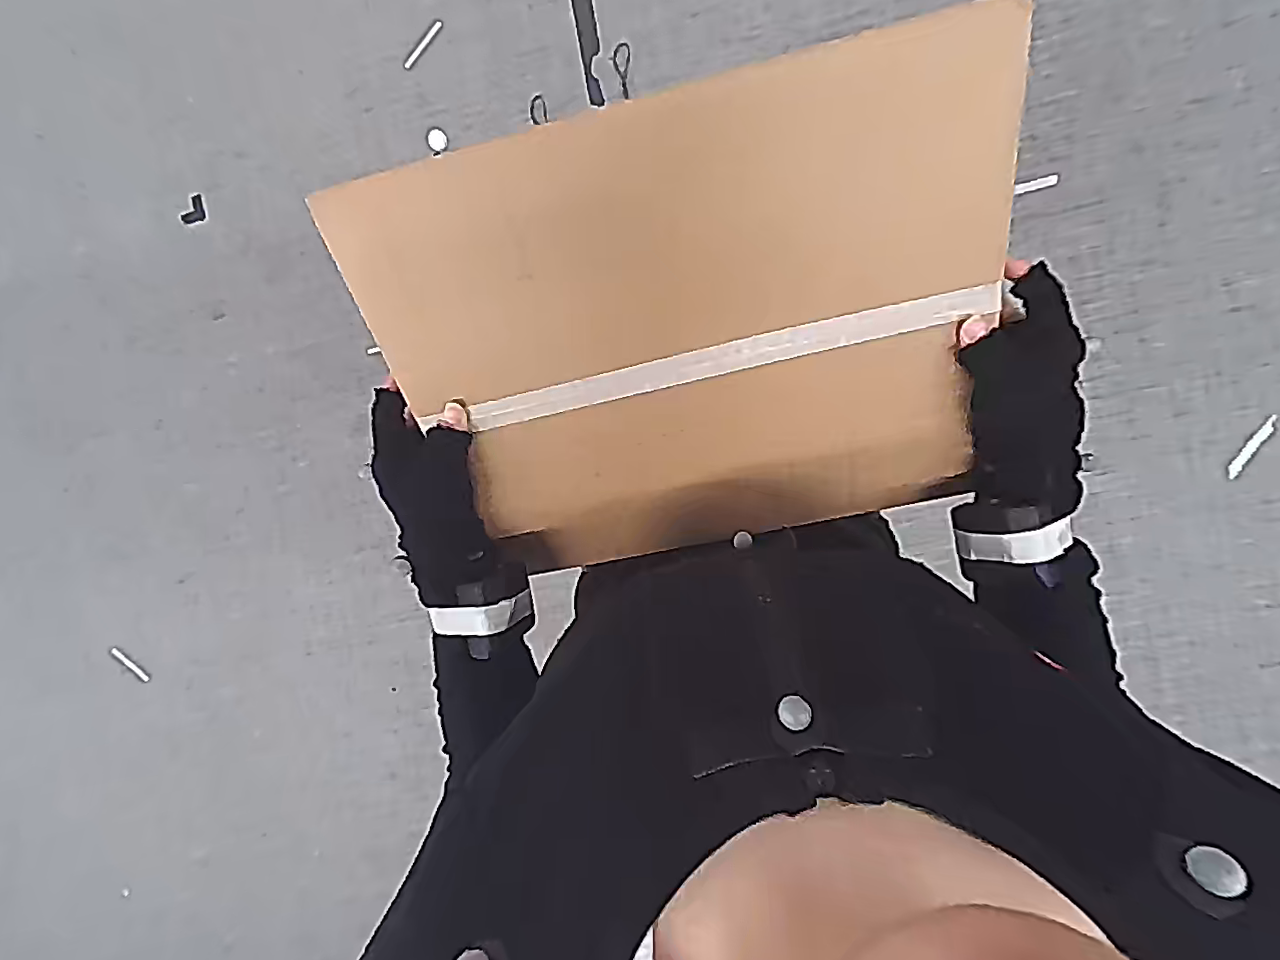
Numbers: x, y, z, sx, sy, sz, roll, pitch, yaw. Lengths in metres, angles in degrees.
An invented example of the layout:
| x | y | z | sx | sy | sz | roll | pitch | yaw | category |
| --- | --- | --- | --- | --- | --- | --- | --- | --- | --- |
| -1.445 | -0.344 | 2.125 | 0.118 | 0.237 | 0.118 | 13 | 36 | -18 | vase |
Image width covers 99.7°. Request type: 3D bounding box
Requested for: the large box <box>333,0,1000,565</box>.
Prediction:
| x | y | z | sx | sy | sz | roll | pitch | yaw | category |
| --- | --- | --- | --- | --- | --- | --- | --- | --- | --- |
| 0.032 | -0.166 | 0.512 | 0.408 | 0.320 | 0.320 | -12 | 123 | 7 | large box |
